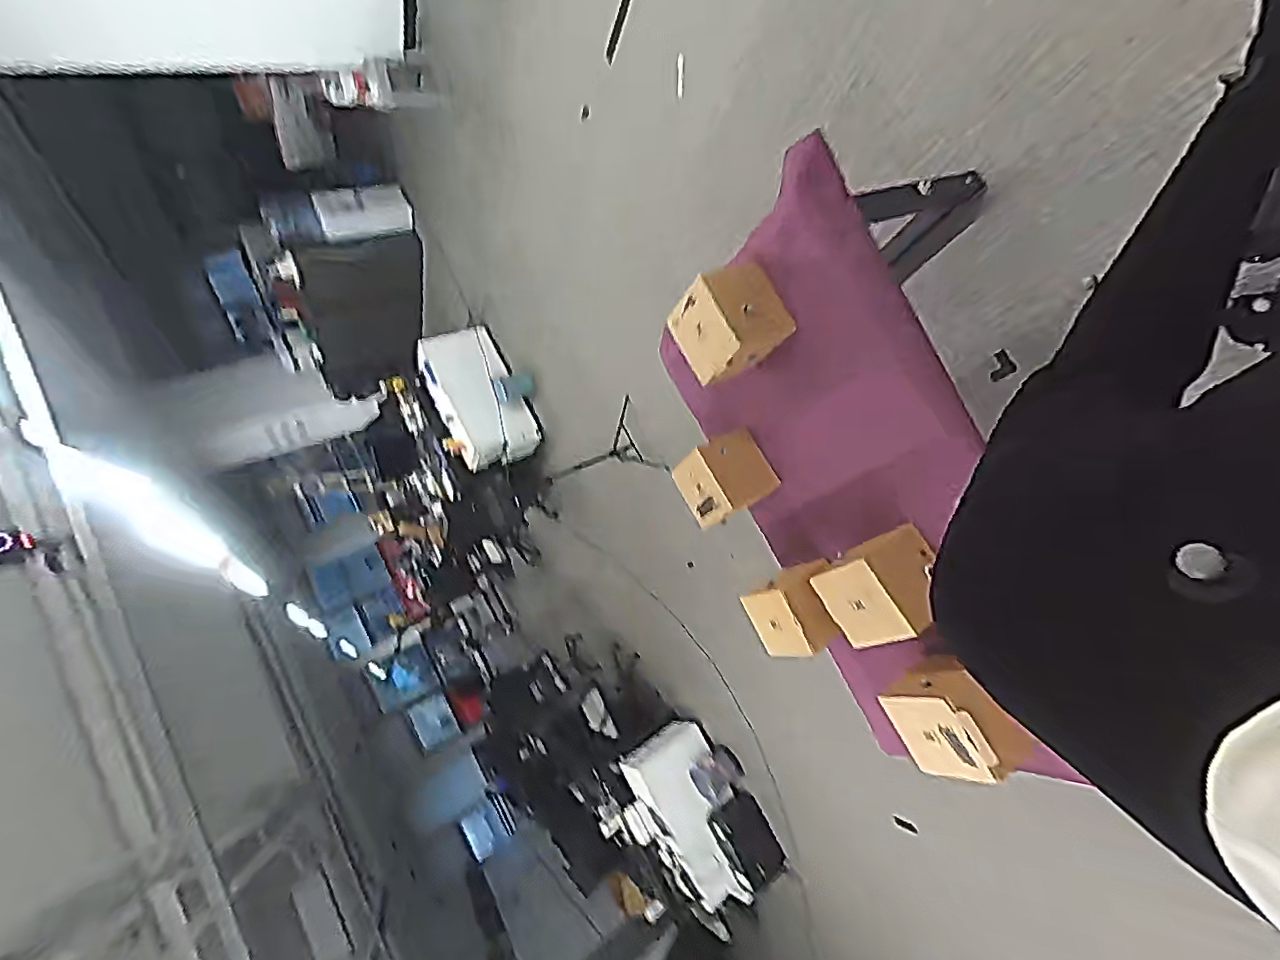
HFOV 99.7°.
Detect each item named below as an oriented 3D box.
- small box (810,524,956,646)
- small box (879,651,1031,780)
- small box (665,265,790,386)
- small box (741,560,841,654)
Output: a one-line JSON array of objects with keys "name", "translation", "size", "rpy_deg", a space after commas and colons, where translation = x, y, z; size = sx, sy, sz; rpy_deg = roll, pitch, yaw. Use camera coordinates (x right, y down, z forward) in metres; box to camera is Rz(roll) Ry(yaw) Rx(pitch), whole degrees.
[{"name": "small box", "translation": [0.493, 0.214, 1.101], "size": [0.168, 0.176, 0.179], "rpy_deg": [58, 152, 12]}, {"name": "small box", "translation": [0.622, 0.453, 1.063], "size": [0.168, 0.176, 0.179], "rpy_deg": [60, 153, 10]}, {"name": "small box", "translation": [0.191, -0.338, 1.176], "size": [0.179, 0.176, 0.168], "rpy_deg": [60, 151, 6]}, {"name": "small box", "translation": [0.393, 0.317, 1.345], "size": [0.168, 0.176, 0.179], "rpy_deg": [63, 151, 6]}]
